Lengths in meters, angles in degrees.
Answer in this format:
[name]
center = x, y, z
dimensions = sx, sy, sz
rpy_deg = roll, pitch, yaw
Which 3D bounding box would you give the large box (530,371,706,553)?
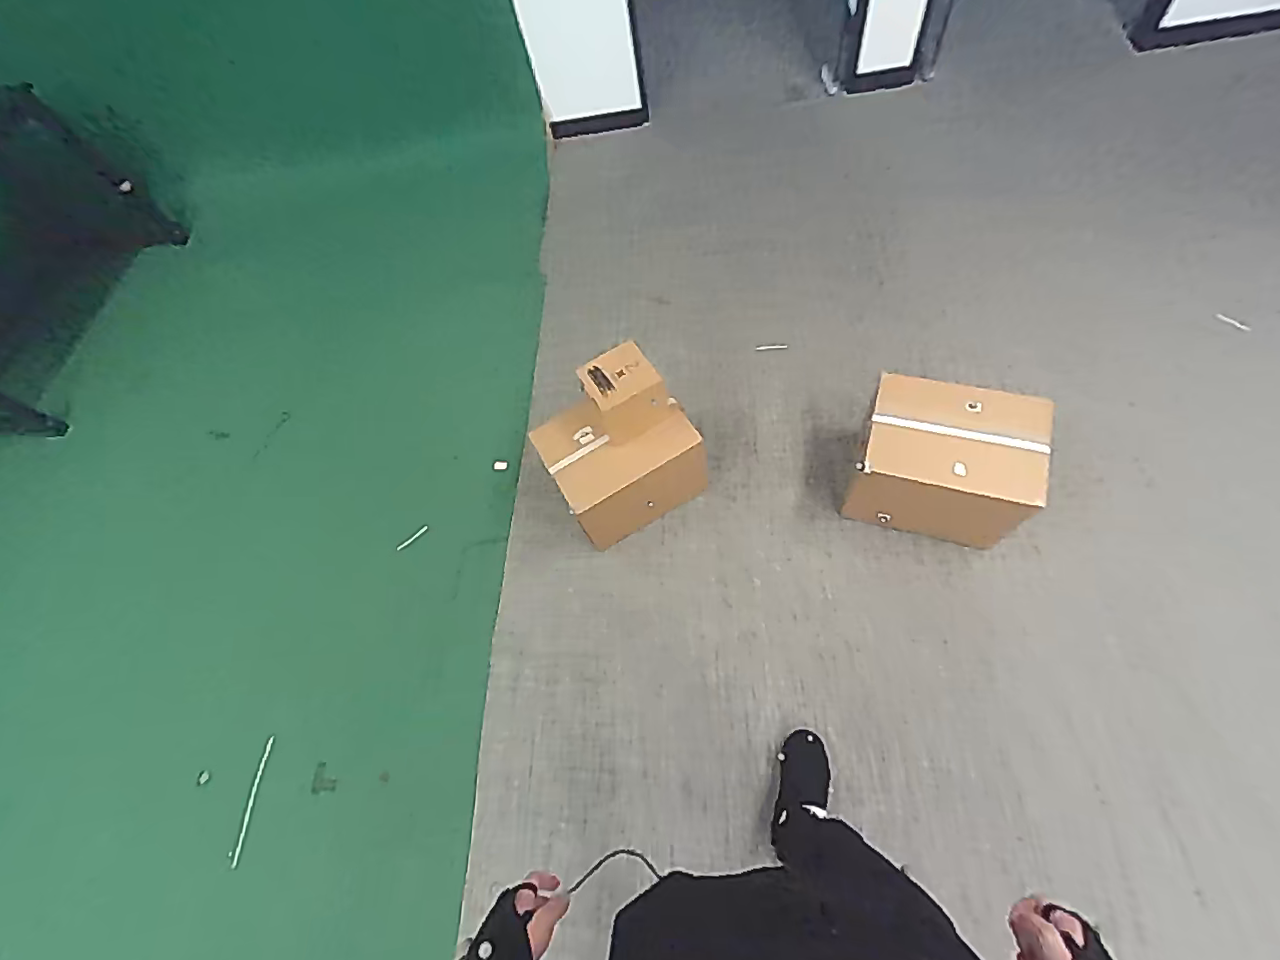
[large box]
center = -0.052, -0.046, 1.636
dimensions = 0.408, 0.320, 0.320
rpy_deg = -31, 62, -6
